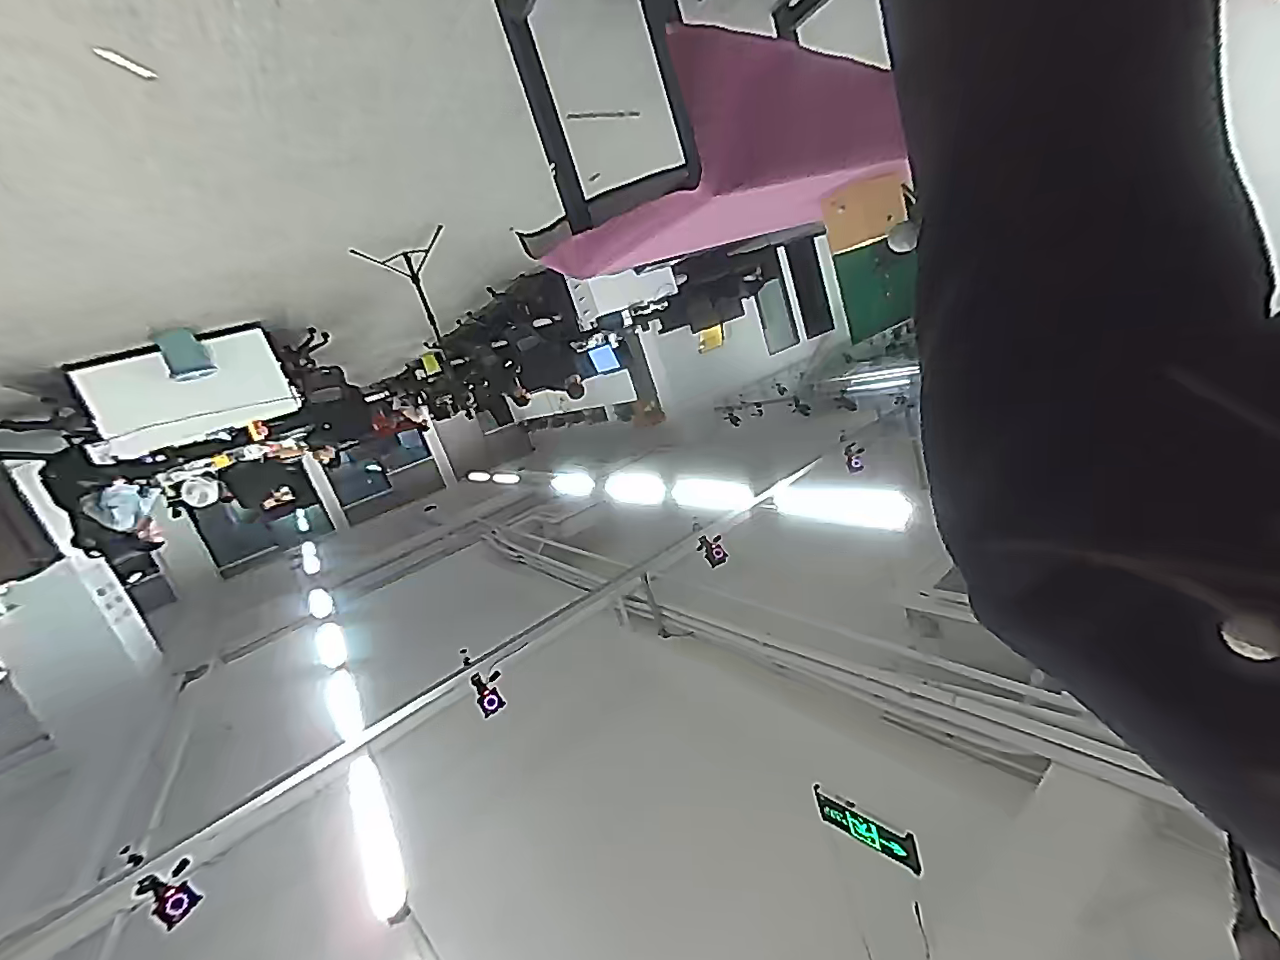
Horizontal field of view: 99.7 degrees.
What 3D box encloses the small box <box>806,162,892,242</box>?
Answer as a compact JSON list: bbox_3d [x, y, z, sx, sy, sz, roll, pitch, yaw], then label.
[{"bbox_3d":[0.661,-0.883,1.714,0.179,0.176,0.168,-25,-165,-20],"label":"small box"}]
